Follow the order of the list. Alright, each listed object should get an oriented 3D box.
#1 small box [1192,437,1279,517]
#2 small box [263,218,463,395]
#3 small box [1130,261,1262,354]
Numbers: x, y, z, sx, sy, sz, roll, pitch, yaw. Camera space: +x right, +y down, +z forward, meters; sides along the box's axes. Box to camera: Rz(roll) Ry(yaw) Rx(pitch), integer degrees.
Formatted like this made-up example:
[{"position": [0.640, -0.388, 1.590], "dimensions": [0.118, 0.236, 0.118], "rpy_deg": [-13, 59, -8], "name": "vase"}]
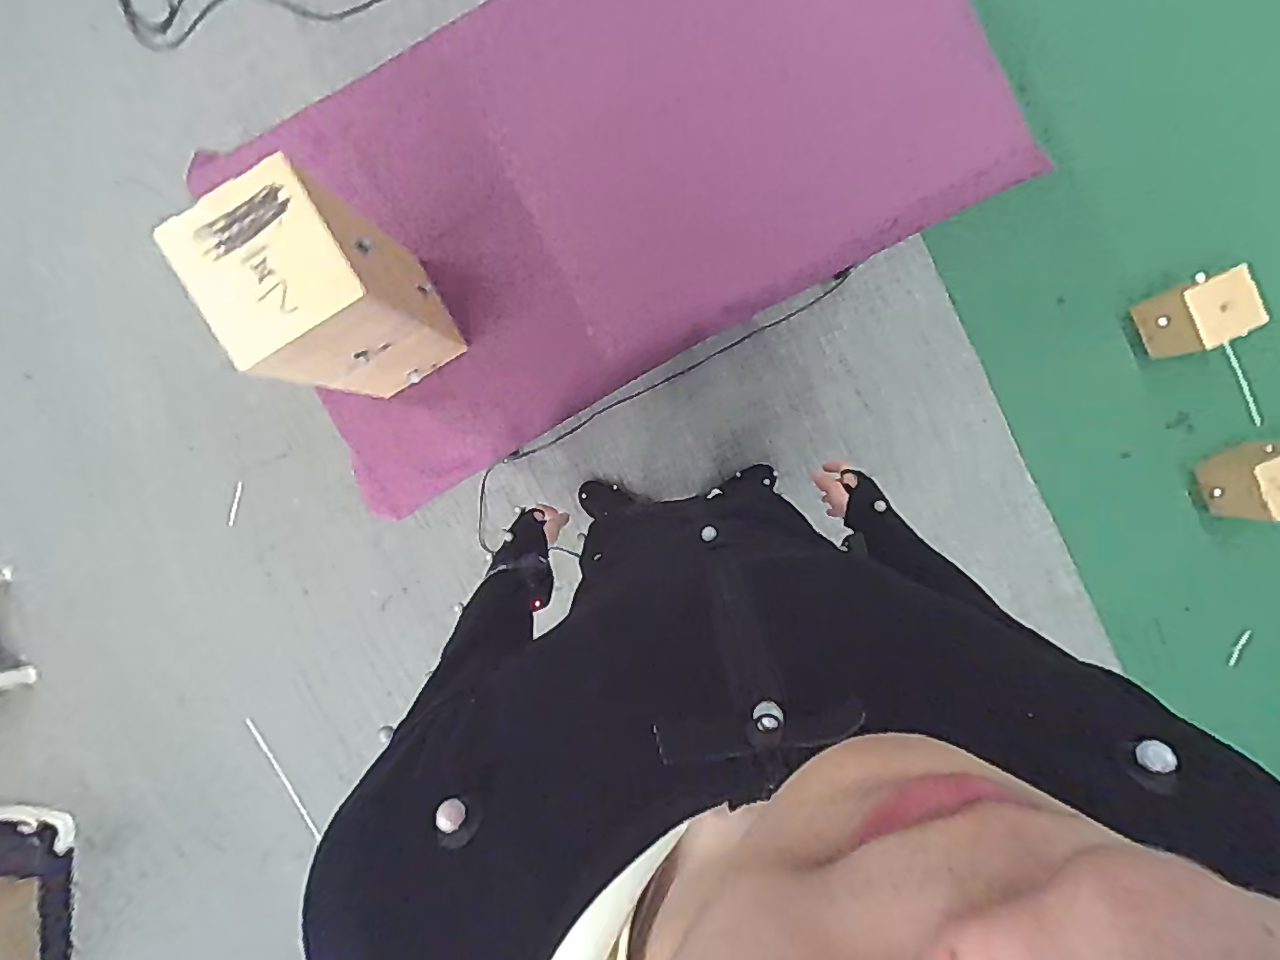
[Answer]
[{"position": [1.739, -0.016, 1.521], "dimensions": [0.179, 0.176, 0.168], "rpy_deg": [-25, 93, 3], "name": "small box"}, {"position": [-0.397, -0.243, 0.809], "dimensions": [0.168, 0.176, 0.179], "rpy_deg": [-30, 94, 3], "name": "small box"}, {"position": [1.520, -0.468, 1.497], "dimensions": [0.179, 0.176, 0.168], "rpy_deg": [-27, 93, 2], "name": "small box"}]
